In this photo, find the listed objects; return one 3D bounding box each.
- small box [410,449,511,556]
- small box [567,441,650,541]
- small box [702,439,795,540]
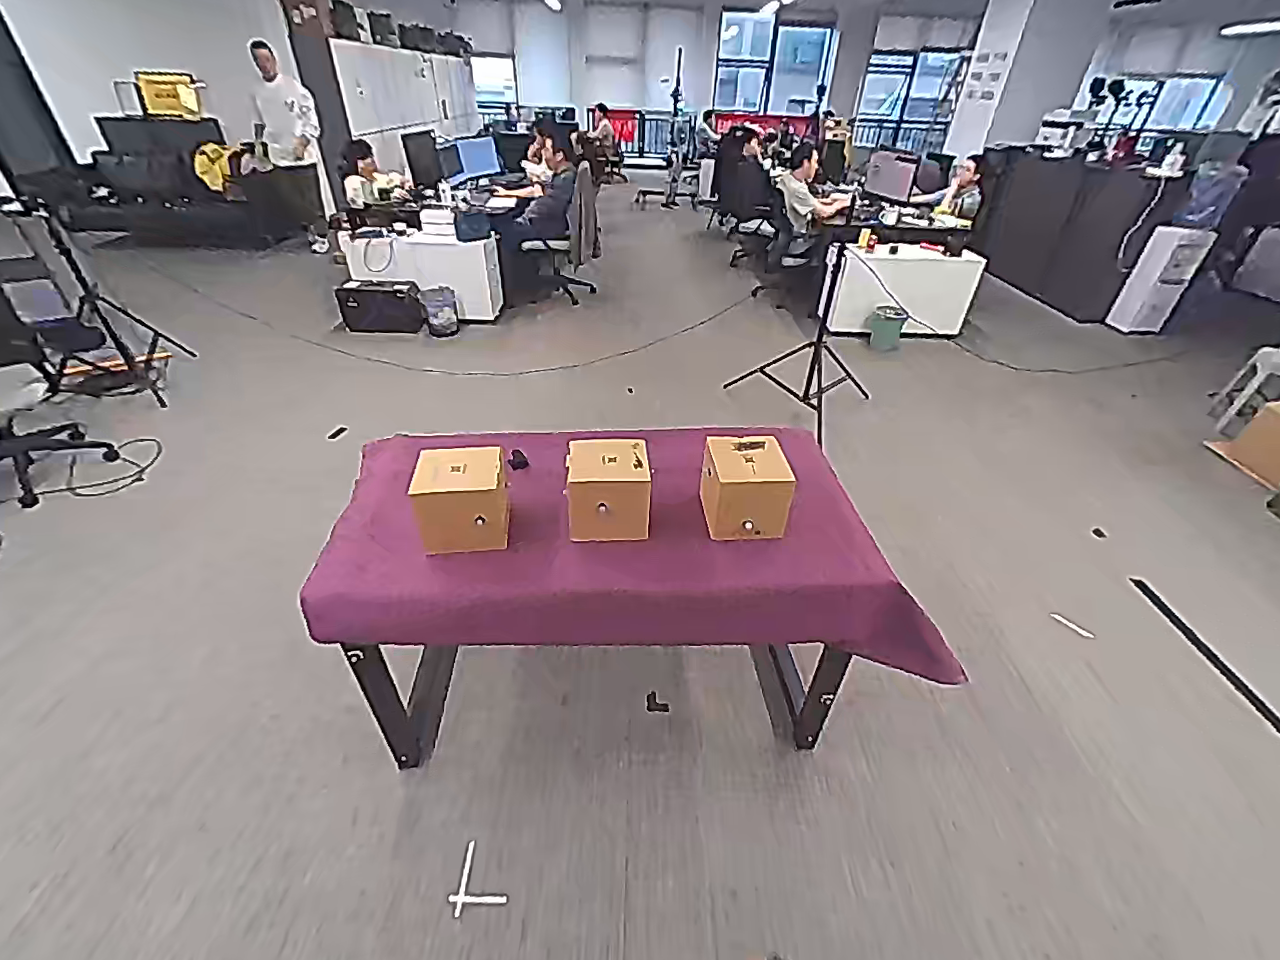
[{"bbox_3d":[-0.382,0.049,1.188,0.179,0.176,0.168,-5,35,-8],"label":"small box"},{"bbox_3d":[-0.069,0.026,1.232,0.179,0.176,0.168,-2,36,-4],"label":"small box"},{"bbox_3d":[0.241,0.020,1.252,0.168,0.176,0.179,-2,36,-4],"label":"small box"}]
